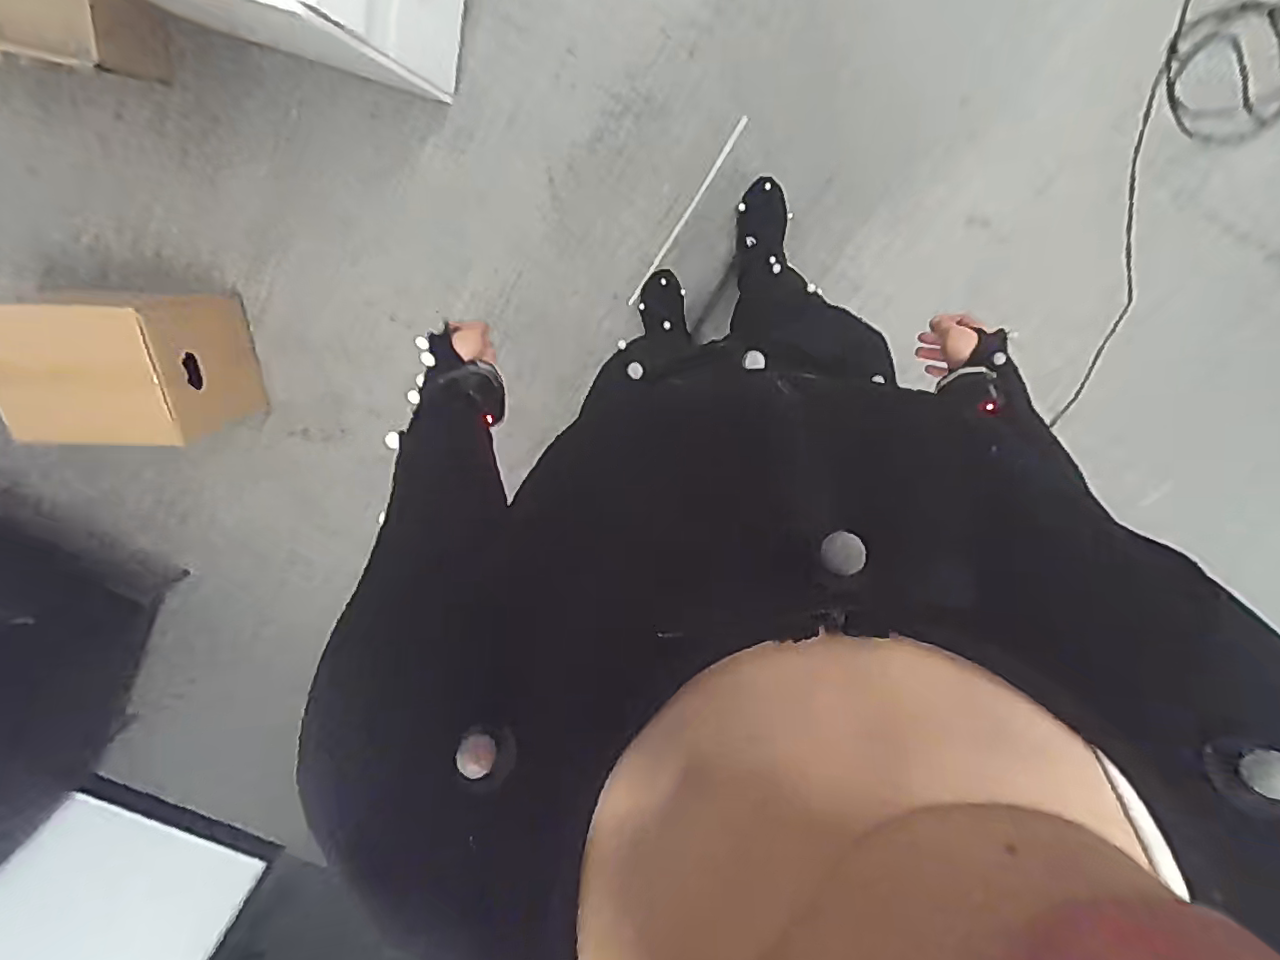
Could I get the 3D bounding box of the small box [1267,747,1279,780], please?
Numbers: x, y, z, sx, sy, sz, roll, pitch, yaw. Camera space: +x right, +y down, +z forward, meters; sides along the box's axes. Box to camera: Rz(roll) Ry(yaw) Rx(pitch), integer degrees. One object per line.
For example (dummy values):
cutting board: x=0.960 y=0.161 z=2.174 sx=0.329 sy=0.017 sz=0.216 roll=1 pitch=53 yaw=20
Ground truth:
small box: x=2.290 y=0.980 z=1.798 sx=0.179 sy=0.176 sz=0.168 roll=-3 pitch=114 yaw=6
